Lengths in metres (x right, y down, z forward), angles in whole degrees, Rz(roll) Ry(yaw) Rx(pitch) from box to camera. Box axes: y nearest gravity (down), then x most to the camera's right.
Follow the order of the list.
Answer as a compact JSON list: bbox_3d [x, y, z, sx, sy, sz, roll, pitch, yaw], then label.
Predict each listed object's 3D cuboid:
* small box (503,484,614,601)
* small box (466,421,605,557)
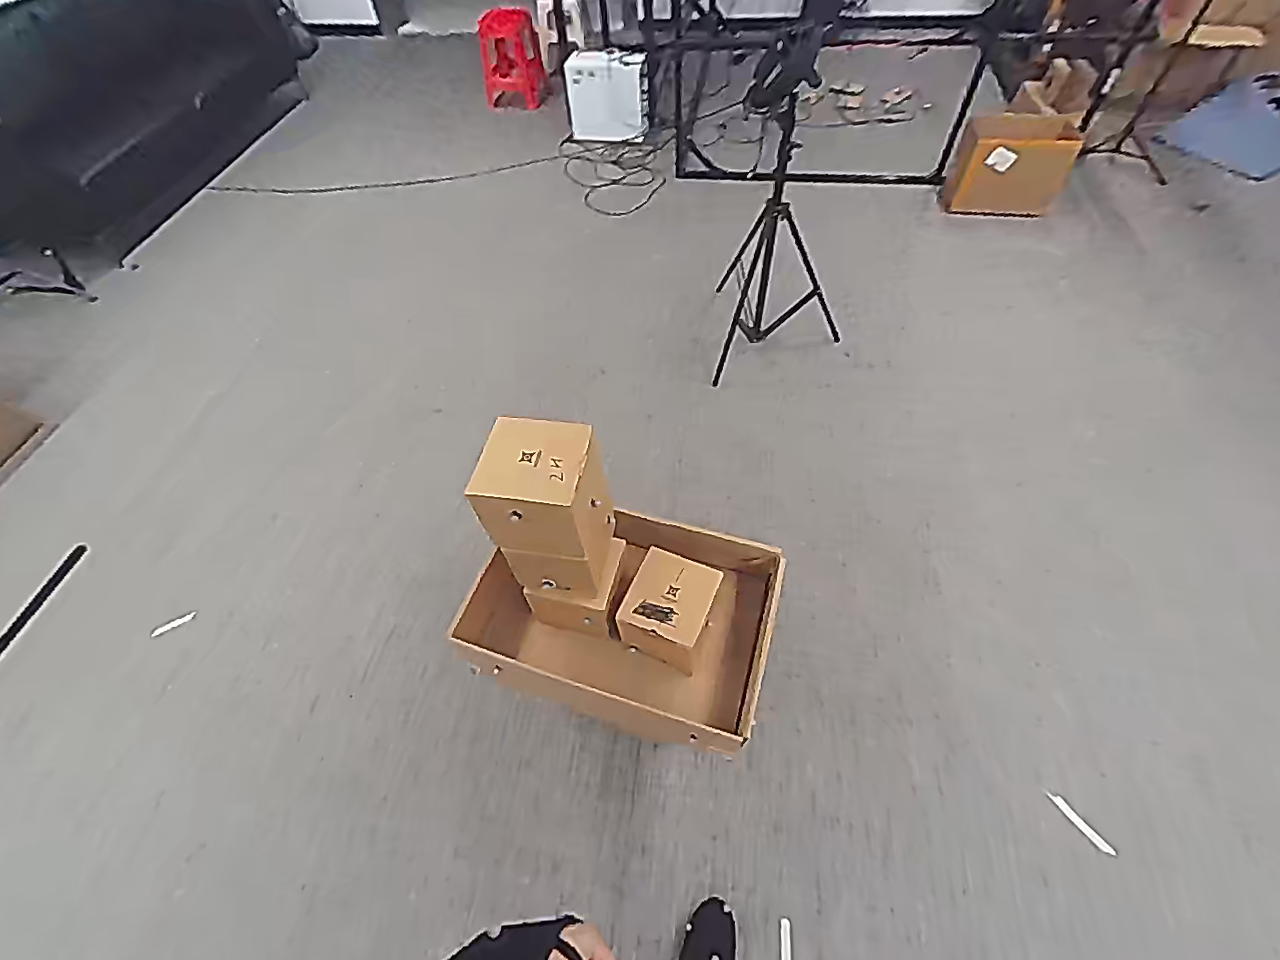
[{"bbox_3d":[-0.149,0.115,1.069,0.168,0.176,0.179,6,55,8],"label":"small box"},{"bbox_3d":[-0.168,0.019,0.937,0.179,0.176,0.168,7,55,8],"label":"small box"}]
